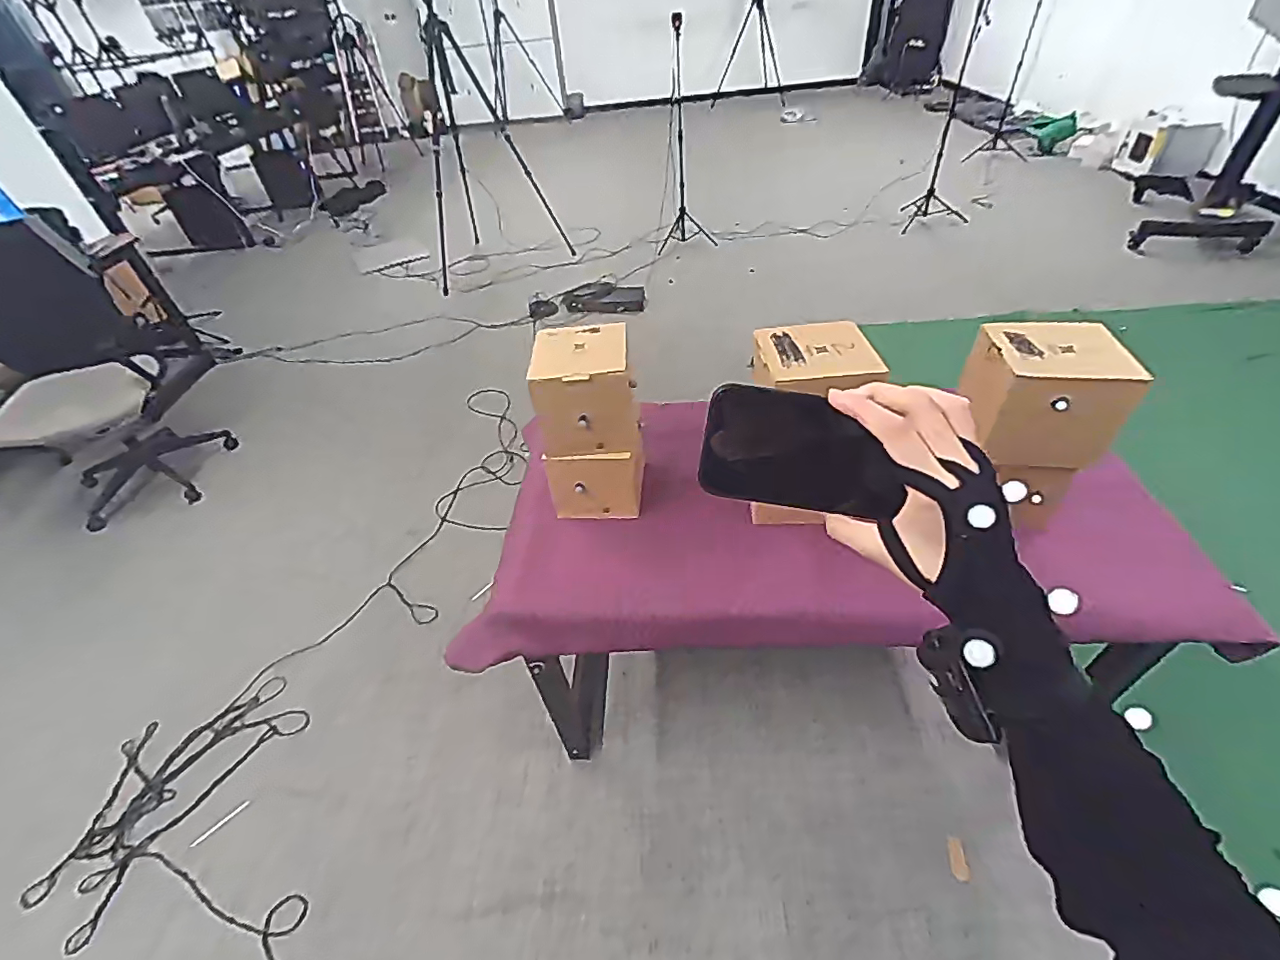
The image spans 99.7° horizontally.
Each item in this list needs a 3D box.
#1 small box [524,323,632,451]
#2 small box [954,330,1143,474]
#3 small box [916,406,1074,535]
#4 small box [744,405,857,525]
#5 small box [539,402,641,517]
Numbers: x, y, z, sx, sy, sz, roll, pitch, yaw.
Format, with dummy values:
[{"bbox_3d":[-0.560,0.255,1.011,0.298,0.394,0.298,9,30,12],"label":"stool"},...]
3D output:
[{"bbox_3d":[-0.103,-0.164,0.988,0.168,0.176,0.179,-3,44,2],"label":"small box"},{"bbox_3d":[0.628,-0.125,0.866,0.179,0.176,0.168,4,44,10],"label":"small box"},{"bbox_3d":[0.633,-0.016,0.989,0.179,0.176,0.168,4,44,11],"label":"small box"},{"bbox_3d":[0.296,-0.026,1.036,0.179,0.176,0.168,0,43,7],"label":"small box"},{"bbox_3d":[-0.090,-0.039,1.095,0.168,0.176,0.179,0,43,7],"label":"small box"}]
